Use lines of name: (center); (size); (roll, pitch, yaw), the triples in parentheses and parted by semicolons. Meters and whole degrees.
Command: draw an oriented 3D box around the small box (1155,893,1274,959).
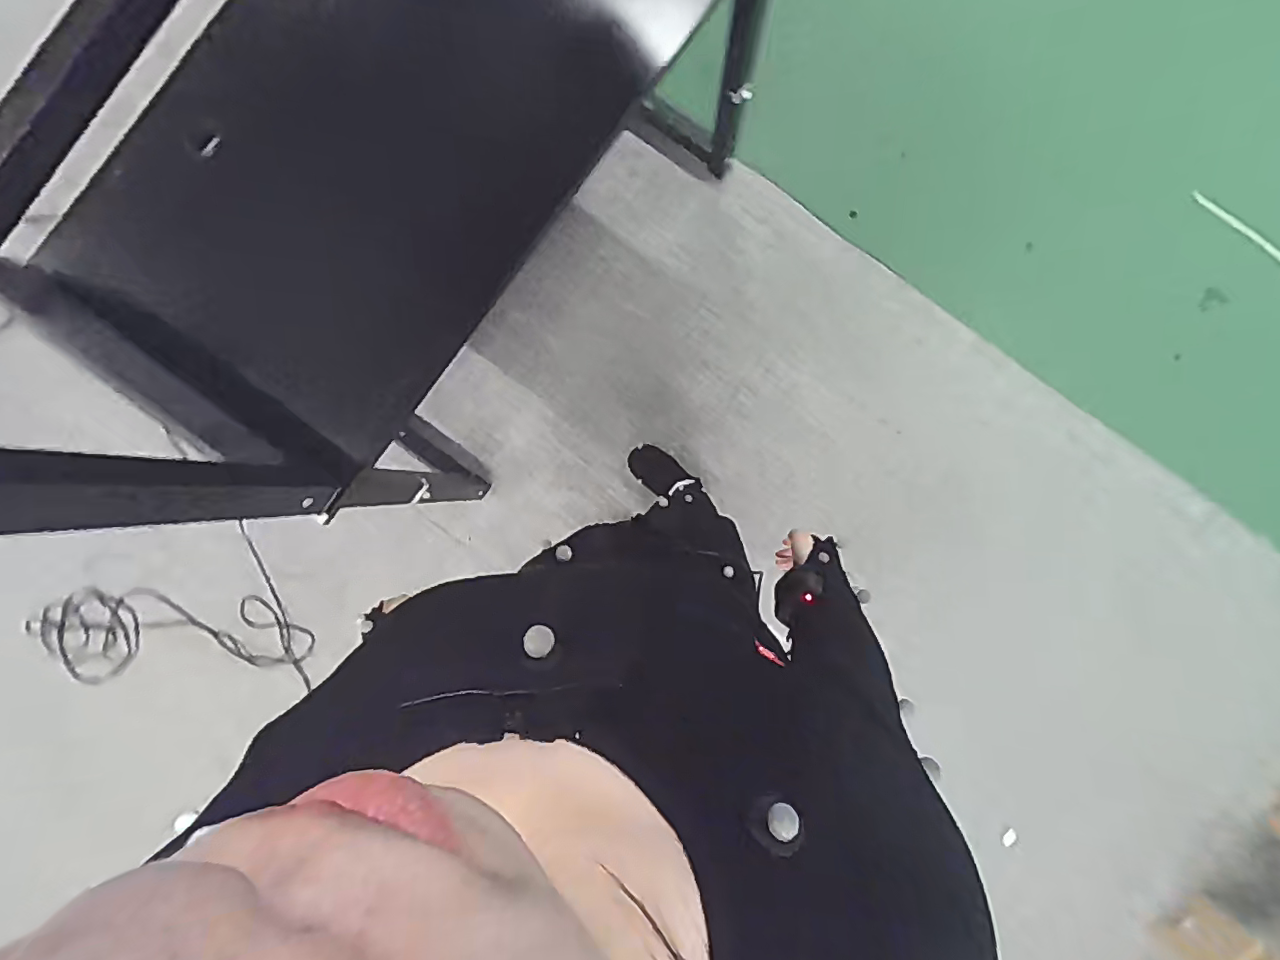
small box: (1.470, 1.198, 1.347); (0.168, 0.176, 0.179); (-43, 88, 0)

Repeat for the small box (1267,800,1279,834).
small box: (1.763, 0.886, 1.345); (0.179, 0.176, 0.168); (33, 90, 2)
